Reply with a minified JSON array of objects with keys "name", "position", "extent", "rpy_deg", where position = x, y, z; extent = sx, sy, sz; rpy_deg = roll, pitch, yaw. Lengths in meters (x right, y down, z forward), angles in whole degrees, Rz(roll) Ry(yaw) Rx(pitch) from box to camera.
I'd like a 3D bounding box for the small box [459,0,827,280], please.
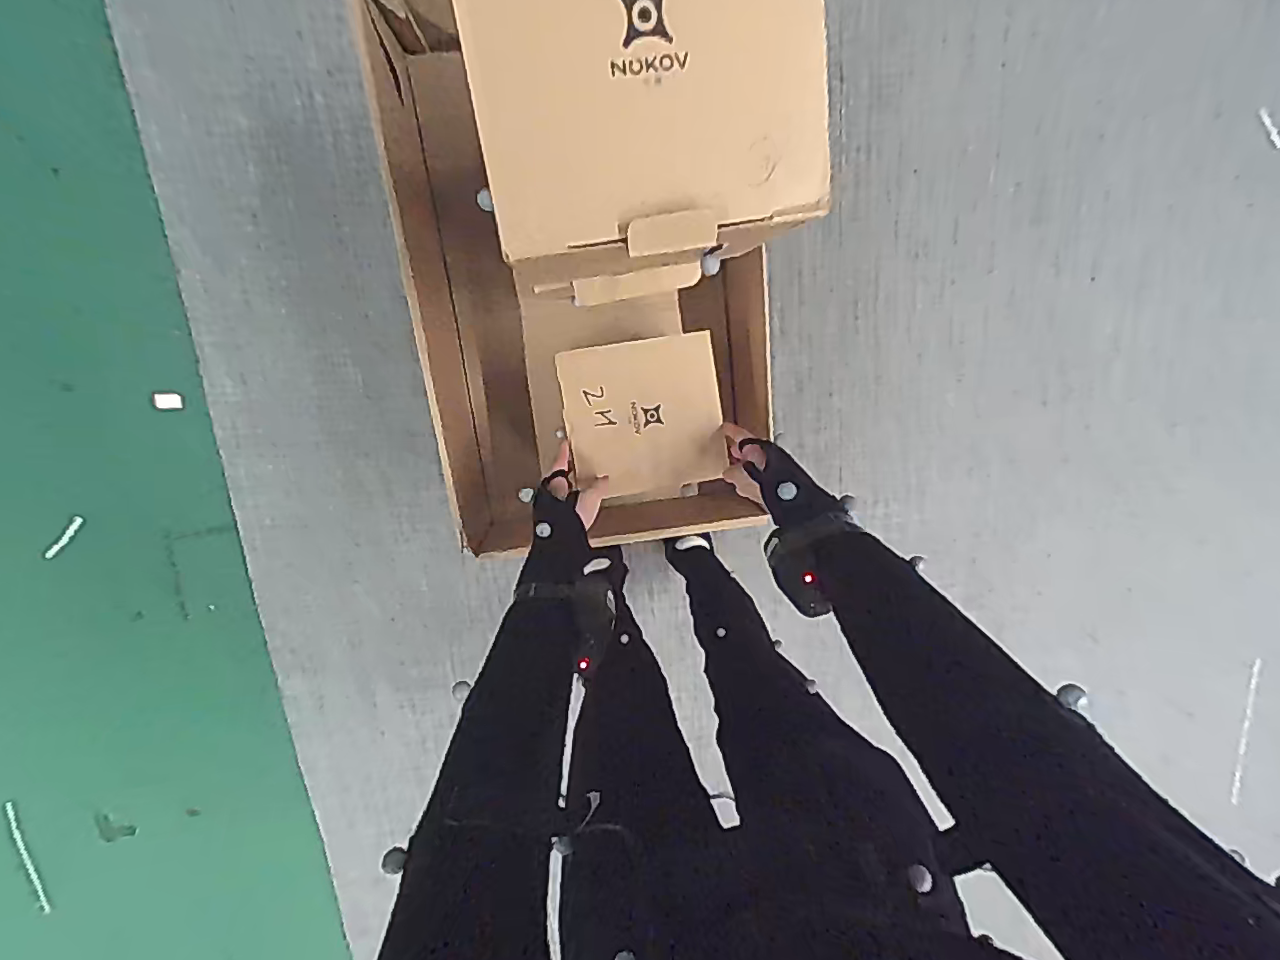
[{"name":"small box","position":[-0.003,-0.221,0.322],"extent":[0.168,0.176,0.179],"rpy_deg":[-9,106,-4]}]
